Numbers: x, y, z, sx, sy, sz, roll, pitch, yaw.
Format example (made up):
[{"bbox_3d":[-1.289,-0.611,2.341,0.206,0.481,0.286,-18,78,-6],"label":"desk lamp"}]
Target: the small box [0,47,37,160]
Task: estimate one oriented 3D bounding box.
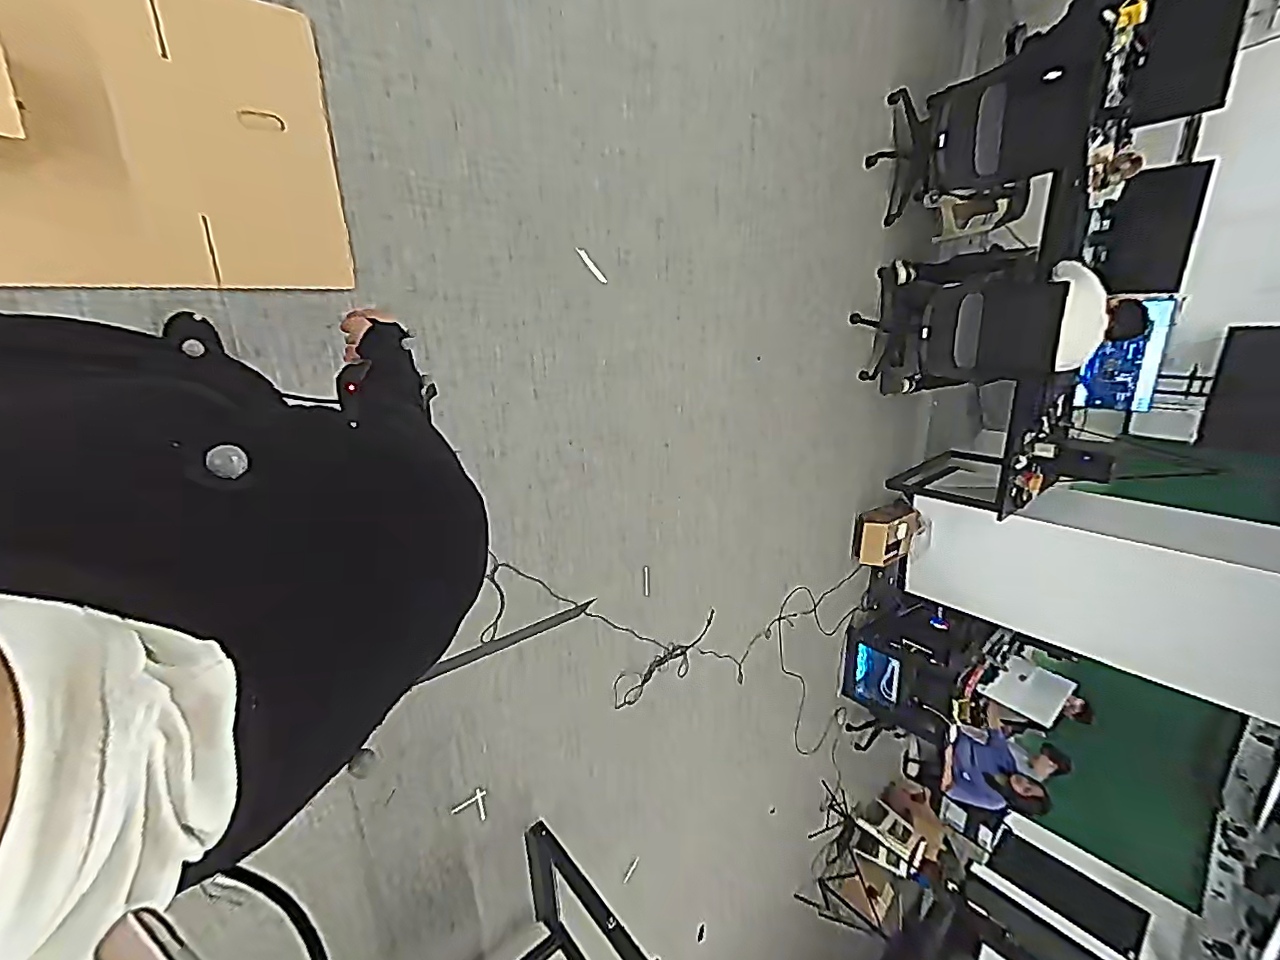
[{"bbox_3d":[-1.163,-0.659,0.906,0.168,0.176,0.179,-13,111,-38],"label":"small box"}]
